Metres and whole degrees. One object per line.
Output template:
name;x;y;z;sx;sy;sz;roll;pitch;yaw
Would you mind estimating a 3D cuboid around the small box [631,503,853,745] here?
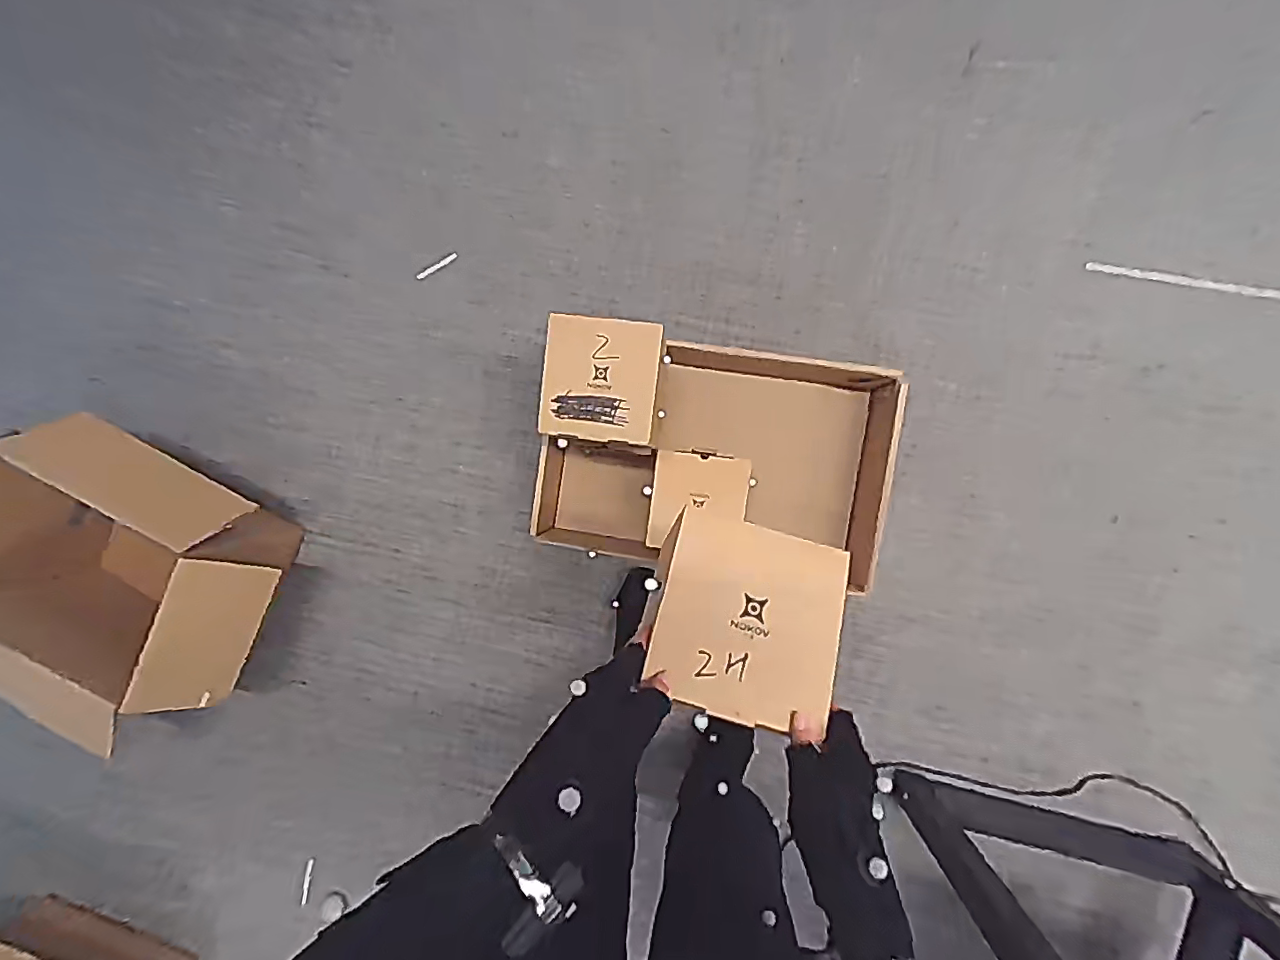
small box;0.093;0.148;0.558;0.168;0.176;0.179;18;70;0
